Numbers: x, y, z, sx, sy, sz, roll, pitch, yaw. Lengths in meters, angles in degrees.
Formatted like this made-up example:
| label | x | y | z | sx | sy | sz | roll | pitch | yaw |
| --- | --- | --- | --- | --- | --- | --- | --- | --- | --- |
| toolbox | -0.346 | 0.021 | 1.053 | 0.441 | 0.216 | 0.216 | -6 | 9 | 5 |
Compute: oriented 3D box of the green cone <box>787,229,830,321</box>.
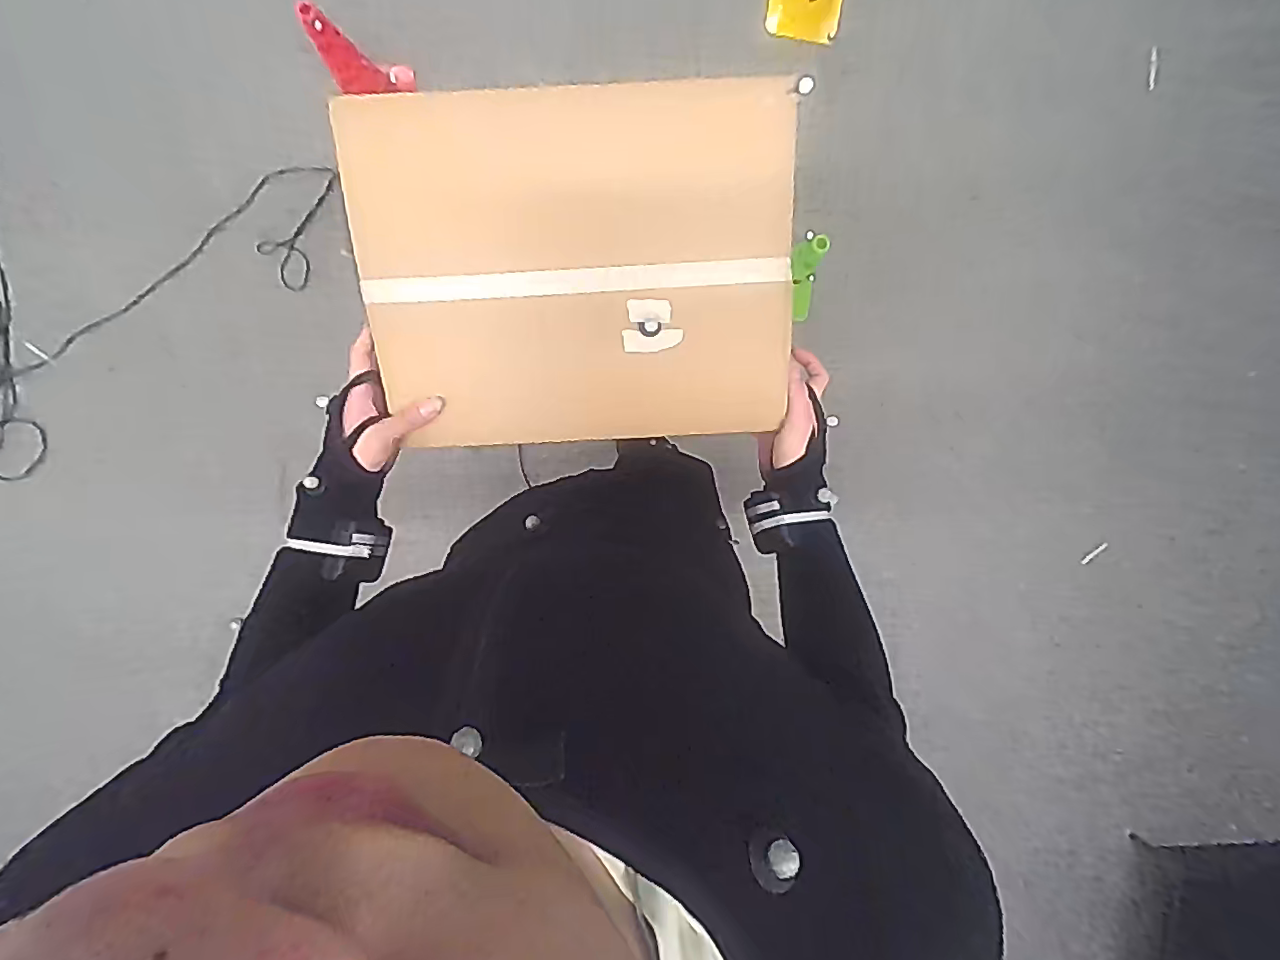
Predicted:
| label | x | y | z | sx | sy | sz | roll | pitch | yaw |
| --- | --- | --- | --- | --- | --- | --- | --- | --- | --- |
| green cone | 0.403 | -0.553 | 1.391 | 0.200 | 0.368 | 0.202 | 5 | 95 | -3 |

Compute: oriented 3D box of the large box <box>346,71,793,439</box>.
| label | x | y | z | sx | sy | sz | roll | pitch | yaw |
| --- | --- | --- | --- | --- | --- | --- | --- | --- | --- |
| large box | -0.060 | -0.246 | 0.662 | 0.408 | 0.320 | 0.320 | -3 | 109 | -1 |
